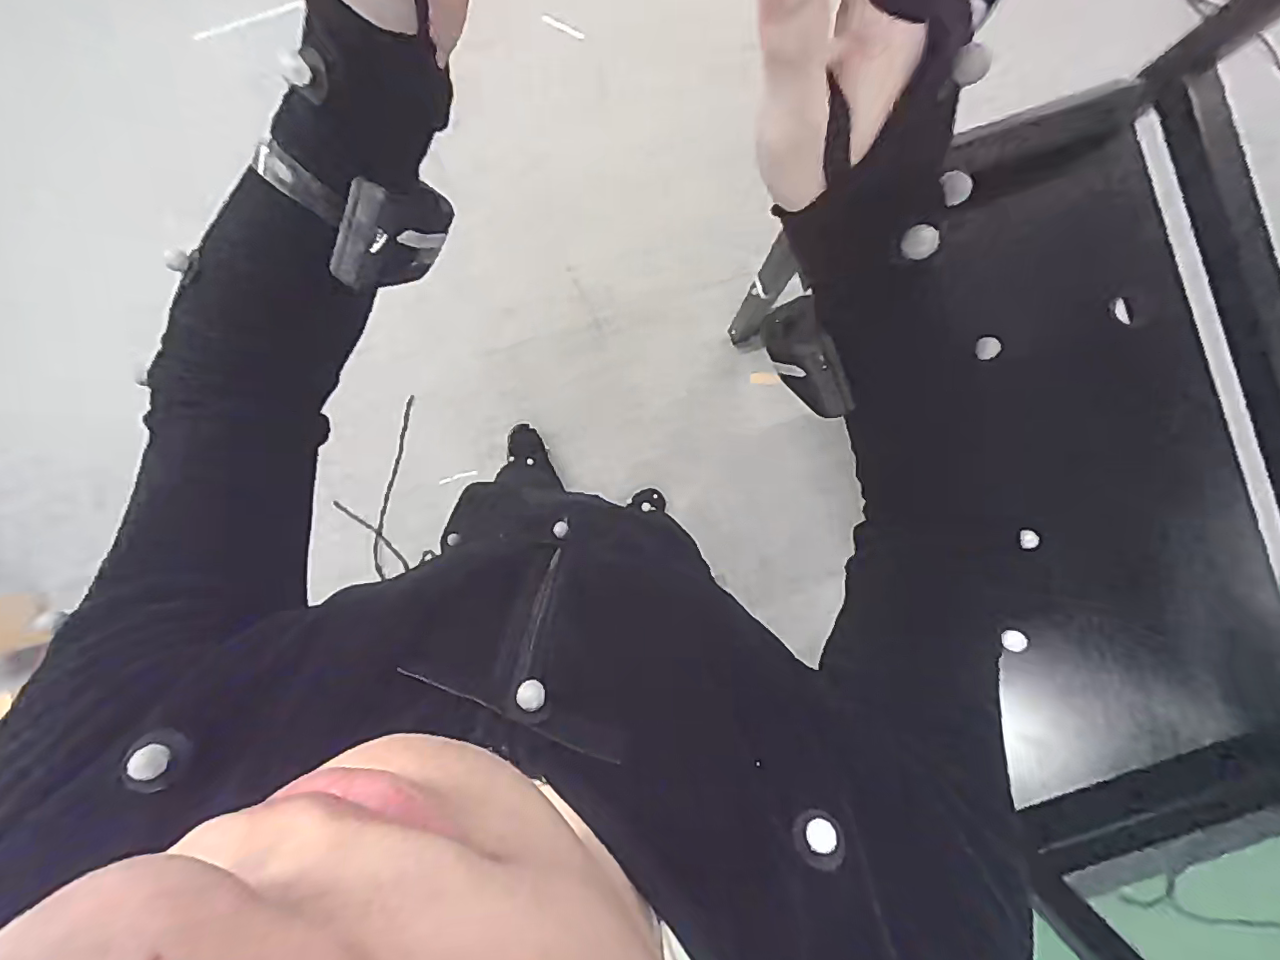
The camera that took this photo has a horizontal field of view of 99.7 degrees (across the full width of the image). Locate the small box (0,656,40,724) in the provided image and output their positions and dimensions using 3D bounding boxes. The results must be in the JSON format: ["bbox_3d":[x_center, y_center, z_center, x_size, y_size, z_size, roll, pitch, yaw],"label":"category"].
[{"bbox_3d":[-1.888,0.626,1.544,0.179,0.176,0.168,-16,91,0],"label":"small box"}]
